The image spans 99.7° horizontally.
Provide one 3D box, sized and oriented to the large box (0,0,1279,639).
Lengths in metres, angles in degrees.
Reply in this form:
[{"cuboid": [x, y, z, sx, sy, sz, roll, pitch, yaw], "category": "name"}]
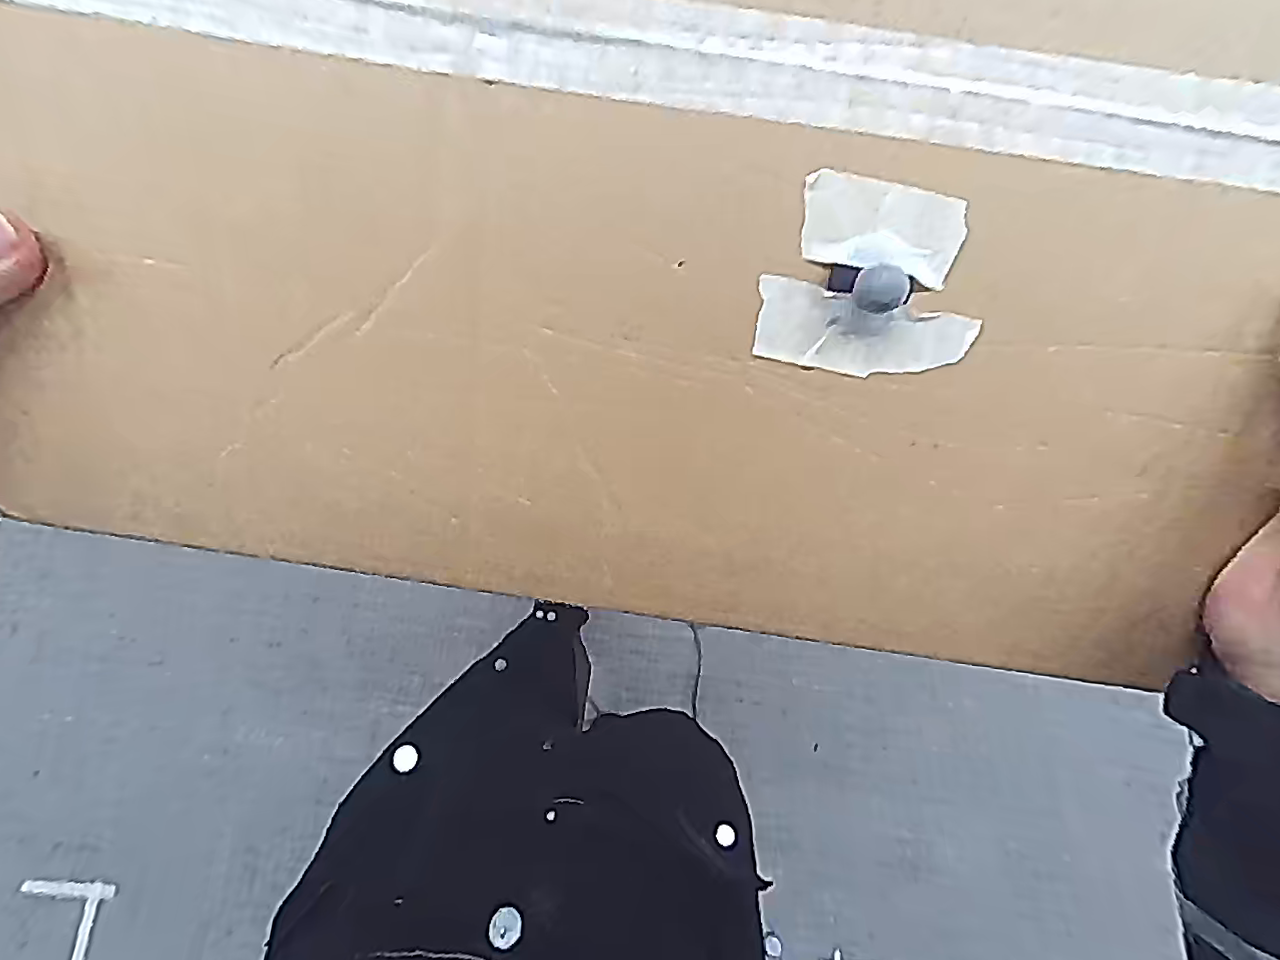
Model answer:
[{"cuboid": [0.006, -0.155, 0.287, 0.408, 0.320, 0.320, 8, 109, -1], "category": "large box"}]
